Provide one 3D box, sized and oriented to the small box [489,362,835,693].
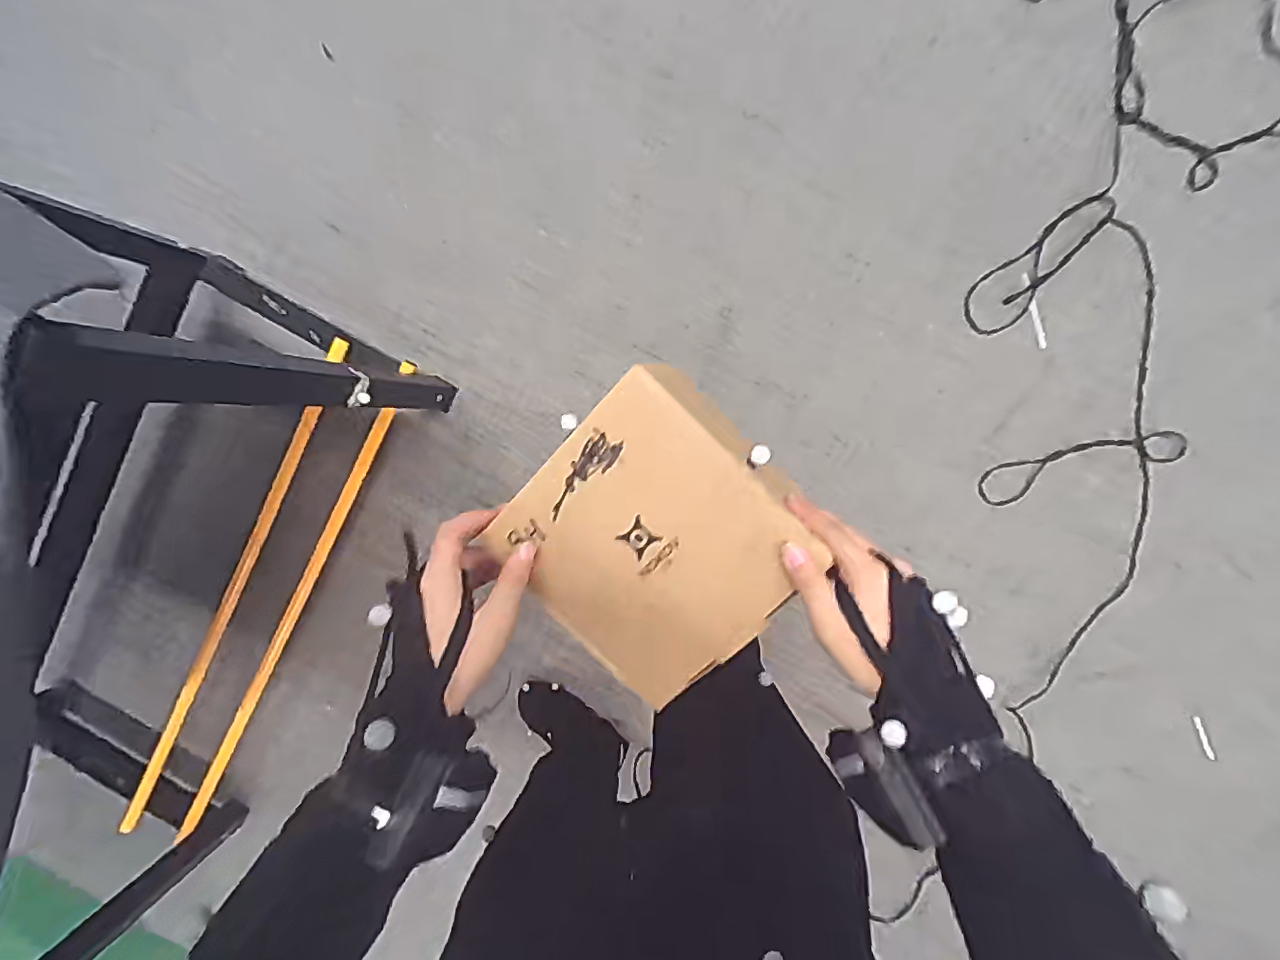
[{"bbox_3d":[0.022,0.021,0.435,0.179,0.176,0.168,45,104,-1],"label":"small box"}]
